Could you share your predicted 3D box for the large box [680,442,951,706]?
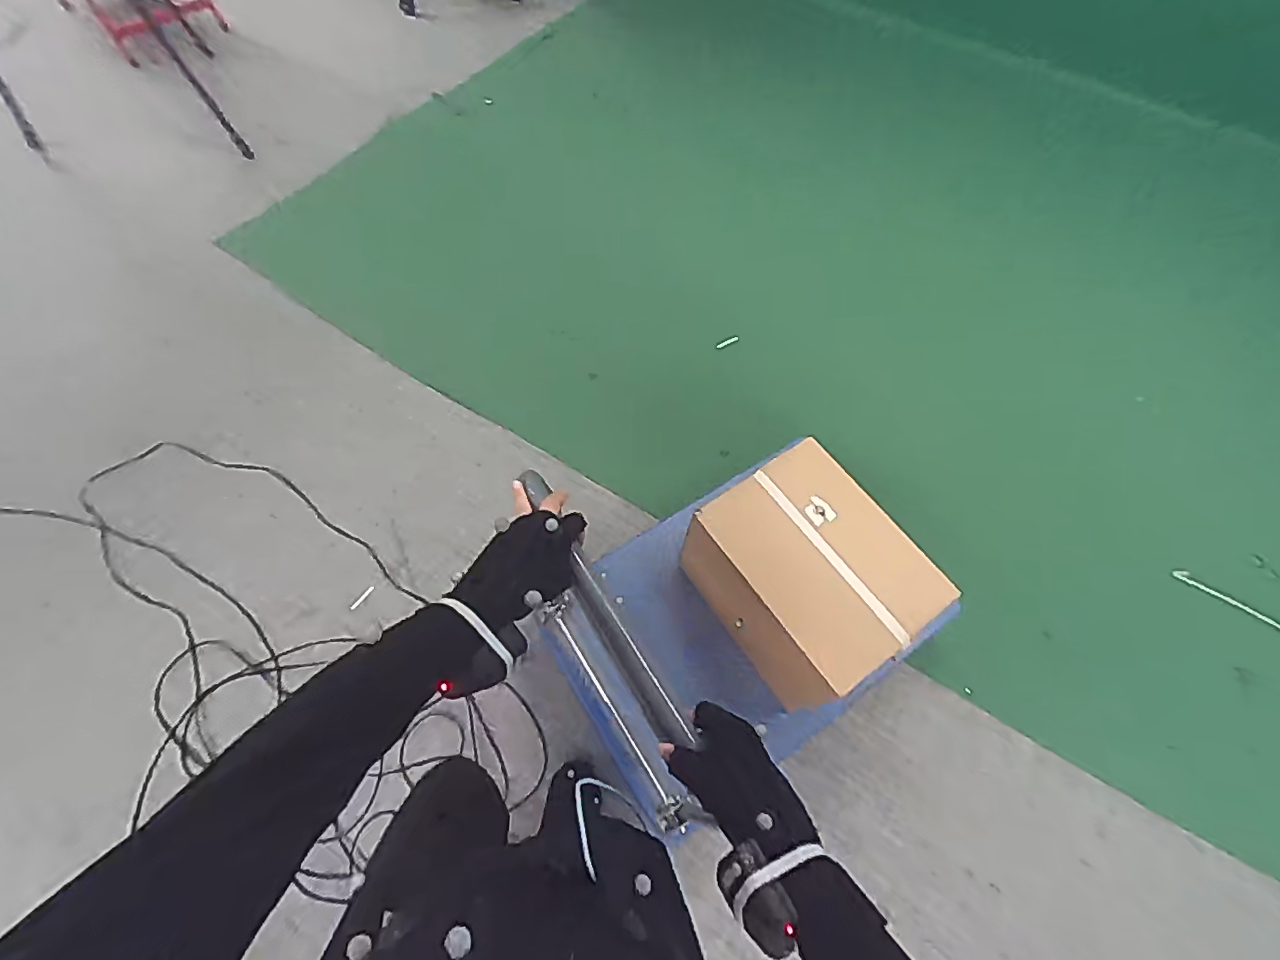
[{"bbox_3d":[0.334,0.207,1.151,0.320,0.320,0.408,-31,68,-18],"label":"large box"}]
